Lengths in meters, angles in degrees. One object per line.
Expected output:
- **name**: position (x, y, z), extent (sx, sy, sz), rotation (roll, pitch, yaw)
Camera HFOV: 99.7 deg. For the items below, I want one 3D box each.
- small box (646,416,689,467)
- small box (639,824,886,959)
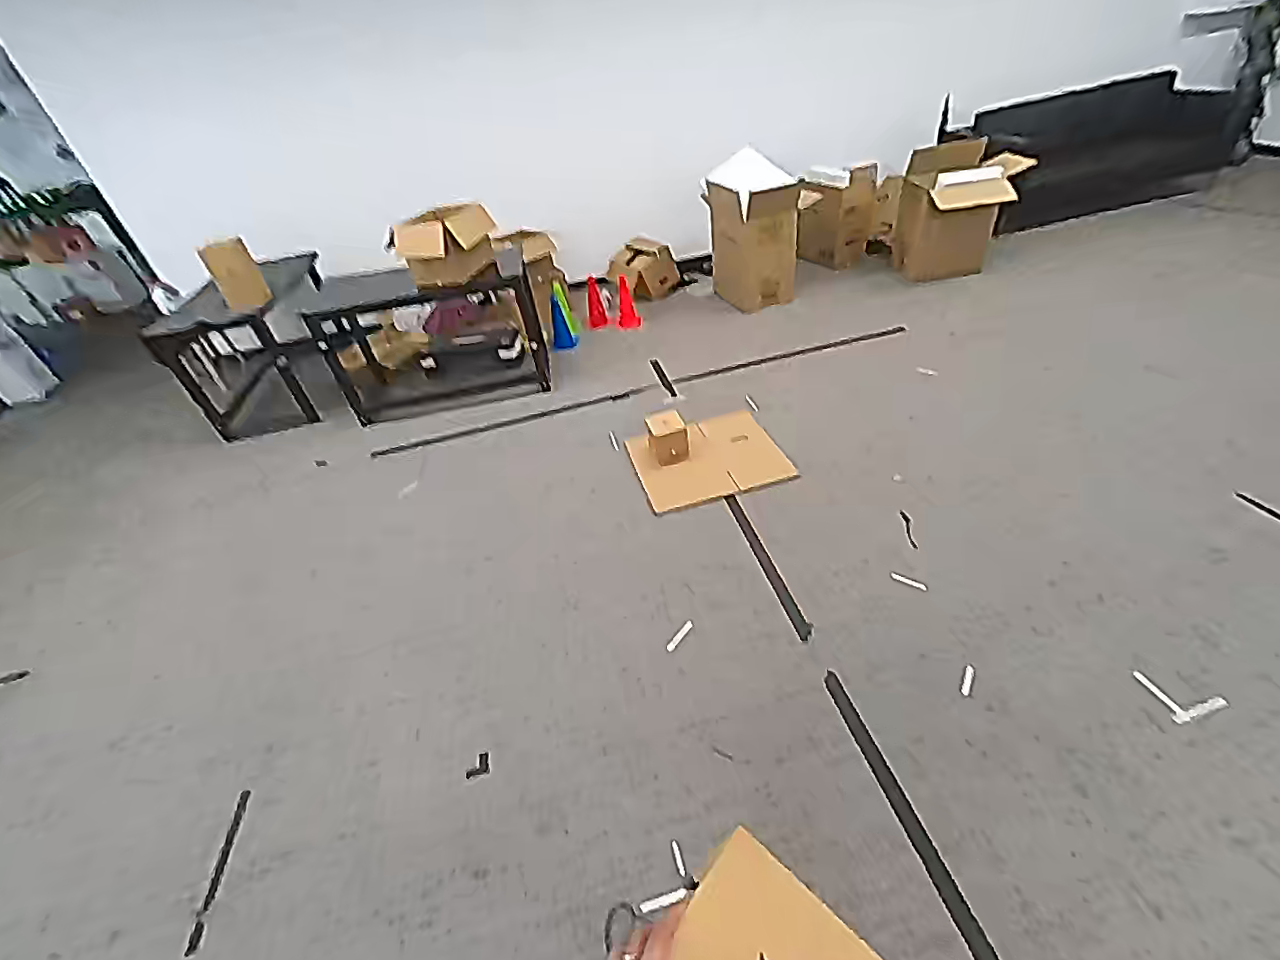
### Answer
- **small box**: position (0.139, -0.191, 2.689), extent (0.168, 0.176, 0.179), rotation (-16, 39, -7)
- **small box**: position (0.106, 0.492, 0.534), extent (0.179, 0.176, 0.168), rotation (35, 53, 23)
